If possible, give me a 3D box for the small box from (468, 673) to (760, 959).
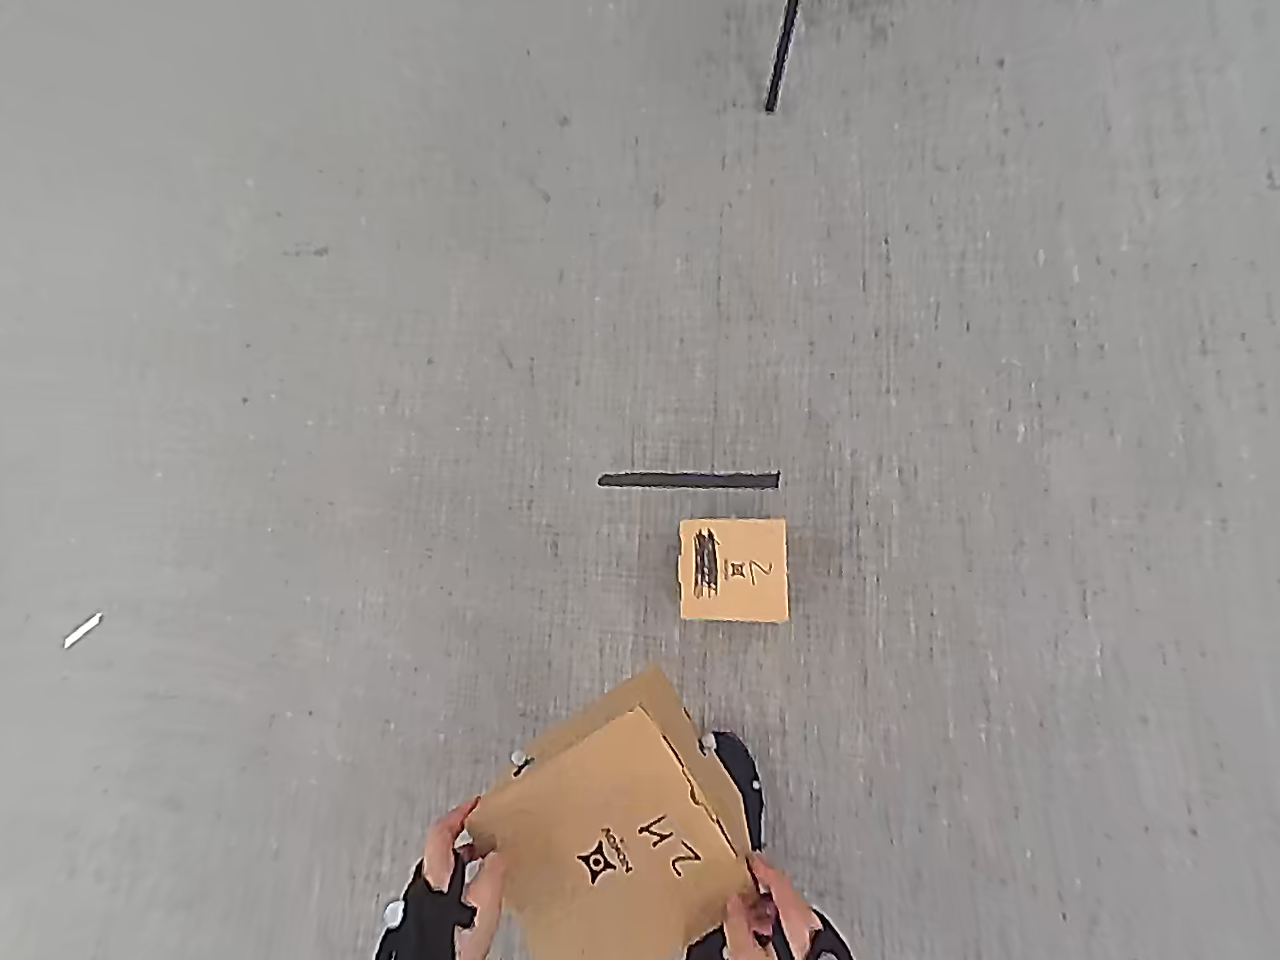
[{"bbox_3d":[-0.015,0.305,0.491,0.179,0.176,0.168,-34,81,0],"label":"small box"}]
